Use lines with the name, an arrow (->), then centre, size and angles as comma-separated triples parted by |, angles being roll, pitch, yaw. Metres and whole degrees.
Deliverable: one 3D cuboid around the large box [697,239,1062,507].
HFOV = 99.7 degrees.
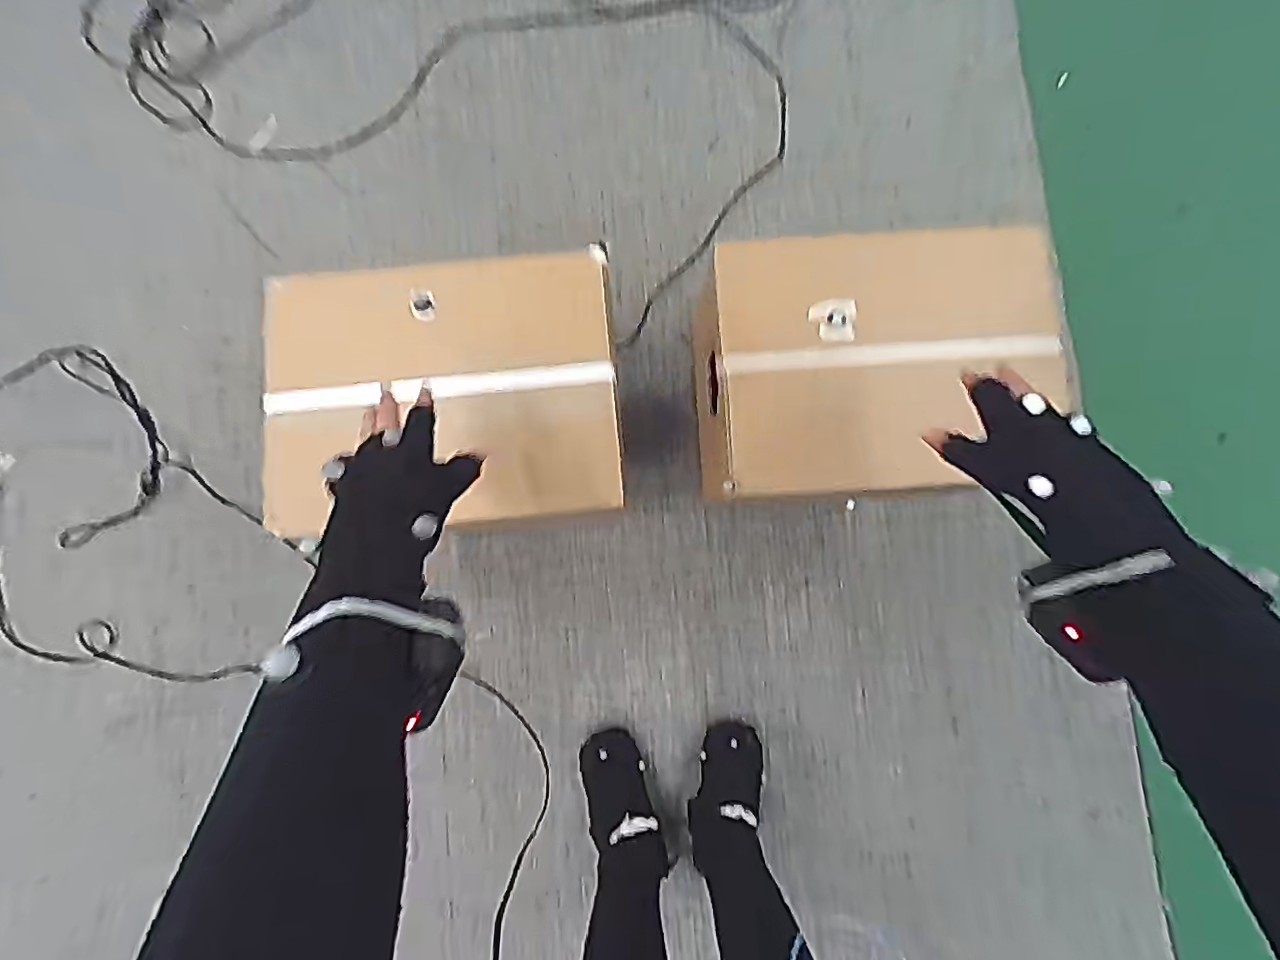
large box -> 0.307, -0.127, 0.812 | 0.408, 0.320, 0.320 | -3, 84, 0
